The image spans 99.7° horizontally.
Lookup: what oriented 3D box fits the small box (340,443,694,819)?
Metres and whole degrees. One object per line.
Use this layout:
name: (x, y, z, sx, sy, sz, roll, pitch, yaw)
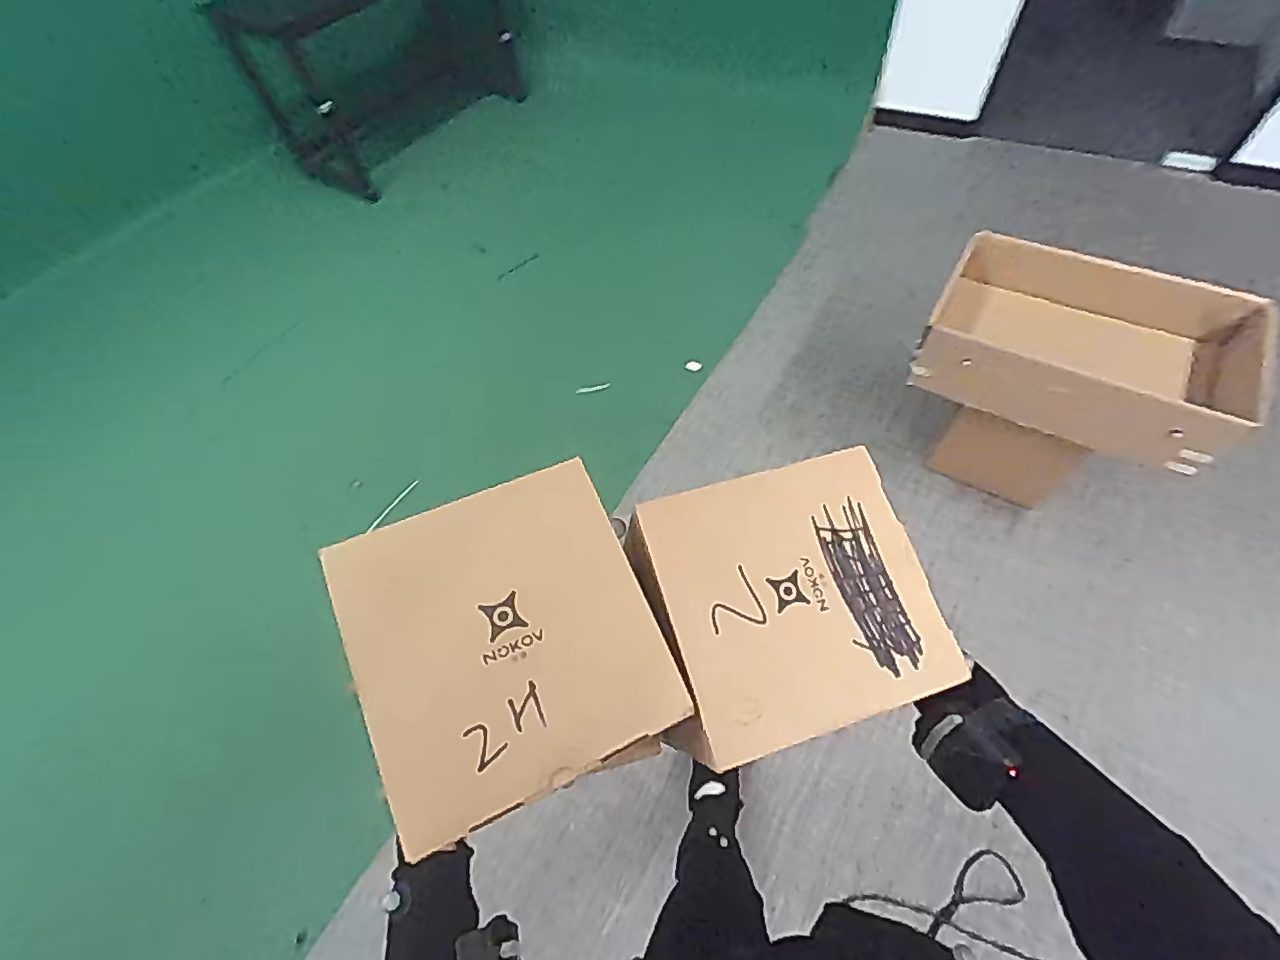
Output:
small box: (-0.085, 0.104, 0.392, 0.168, 0.176, 0.179, -20, 72, -15)
